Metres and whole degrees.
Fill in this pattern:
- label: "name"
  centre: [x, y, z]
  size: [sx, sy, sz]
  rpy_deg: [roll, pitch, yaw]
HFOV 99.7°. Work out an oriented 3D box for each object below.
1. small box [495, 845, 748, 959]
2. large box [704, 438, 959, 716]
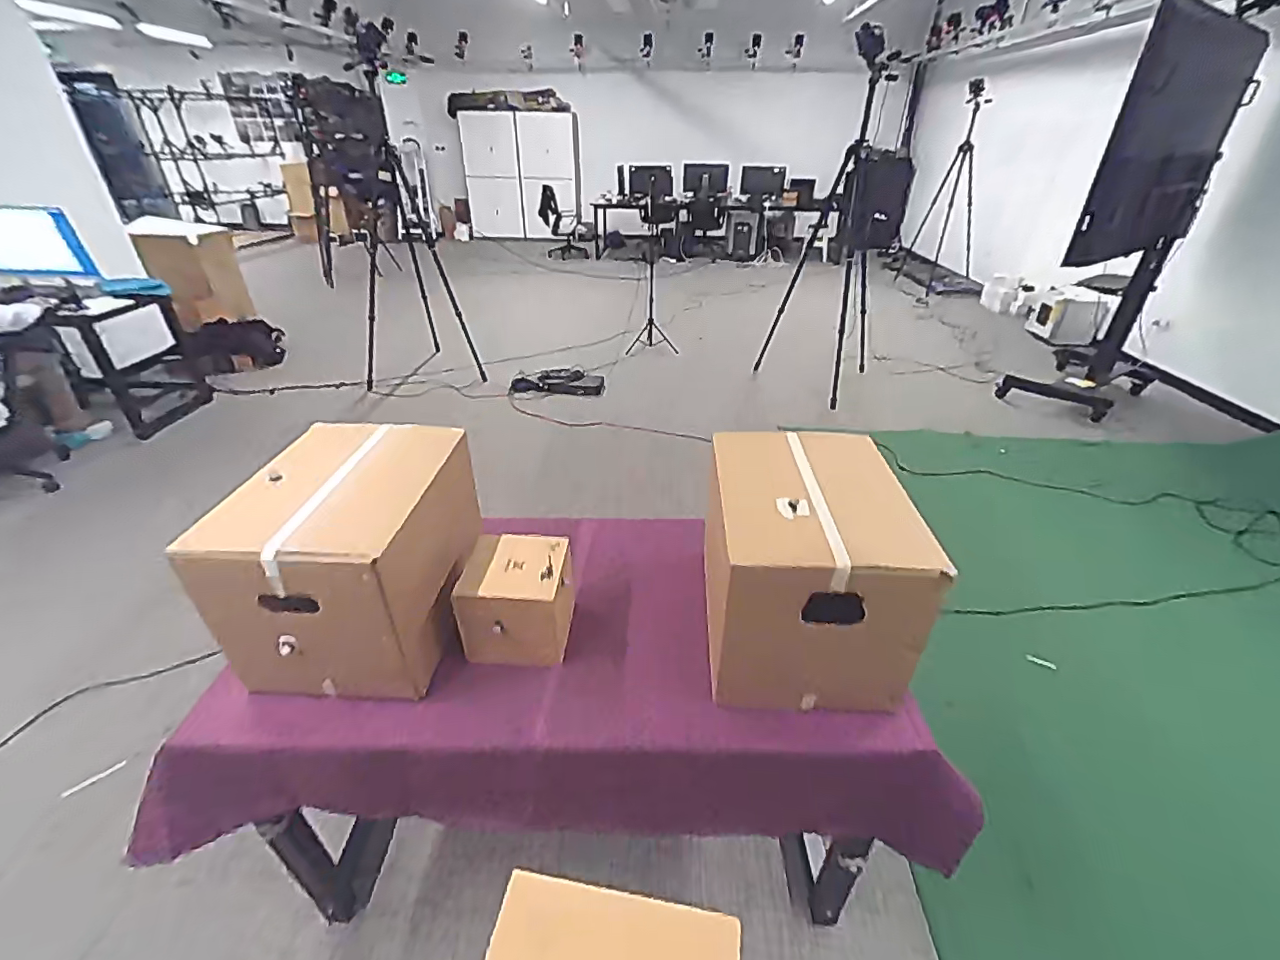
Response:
- label: "small box"
  centre: [-0.021, 0.399, 0.378]
  size: [0.168, 0.176, 0.179]
  rpy_deg: [7, 39, 9]
- label: "large box"
  centre: [0.295, 0.157, 0.997]
  size: [0.320, 0.320, 0.408]
  rpy_deg: [2, 33, 2]
